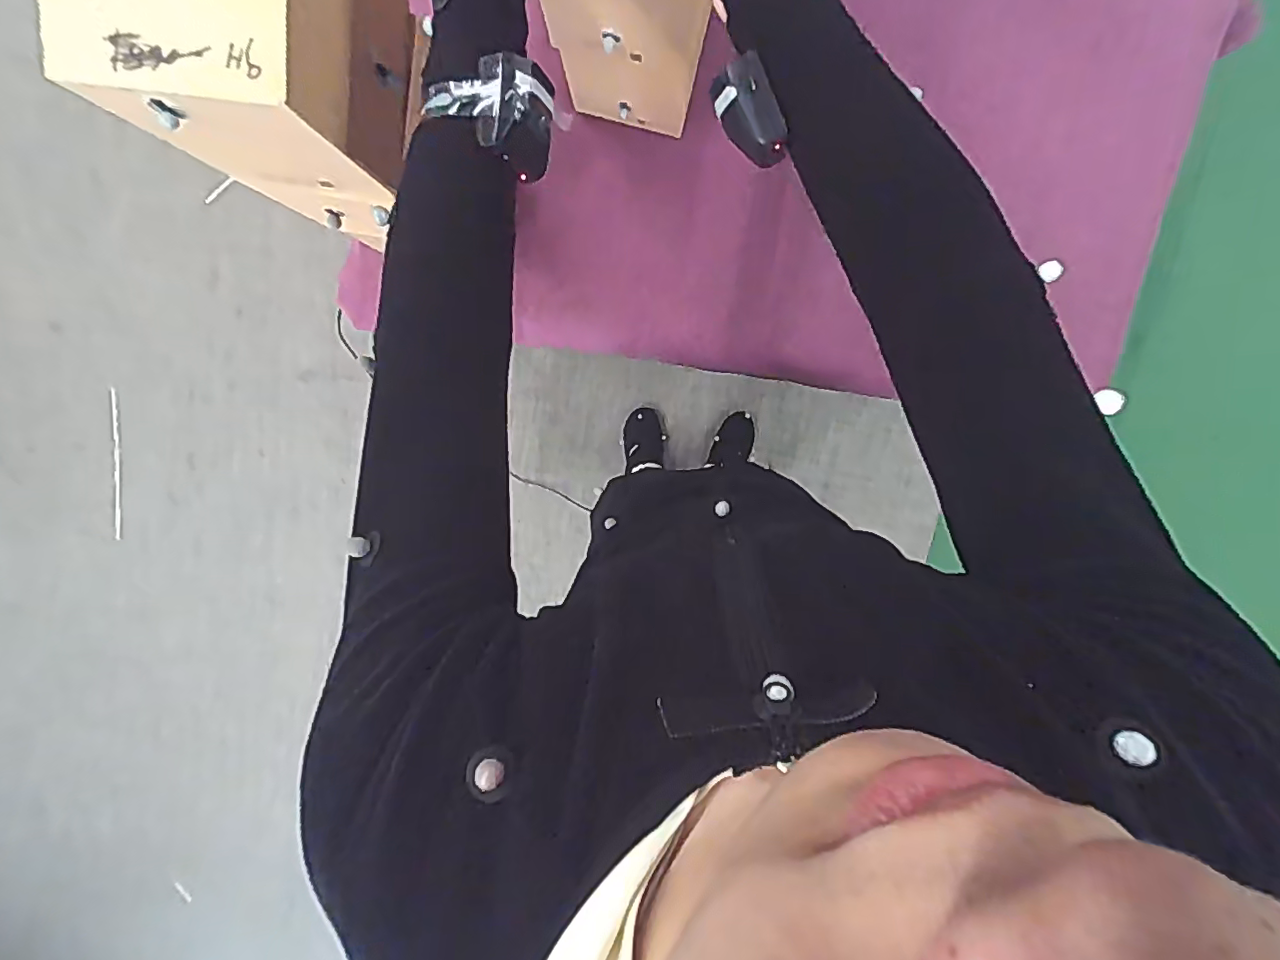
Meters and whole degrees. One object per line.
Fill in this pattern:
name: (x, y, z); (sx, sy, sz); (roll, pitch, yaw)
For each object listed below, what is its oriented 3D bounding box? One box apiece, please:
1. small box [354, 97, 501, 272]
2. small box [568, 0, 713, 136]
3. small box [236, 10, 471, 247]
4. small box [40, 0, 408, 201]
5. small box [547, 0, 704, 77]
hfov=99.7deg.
small box: (-0.300, -0.409, 0.753); (0.168, 0.176, 0.179); (9, 100, 0)
small box: (0.003, -0.600, 0.713); (0.168, 0.176, 0.179); (14, 101, -1)
small box: (-0.299, -0.376, 0.594); (0.168, 0.176, 0.179); (10, 98, 0)
small box: (-0.304, -0.354, 0.430); (0.168, 0.176, 0.179); (8, 97, 2)
small box: (-0.007, -0.566, 0.553); (0.168, 0.176, 0.179); (12, 101, -1)
